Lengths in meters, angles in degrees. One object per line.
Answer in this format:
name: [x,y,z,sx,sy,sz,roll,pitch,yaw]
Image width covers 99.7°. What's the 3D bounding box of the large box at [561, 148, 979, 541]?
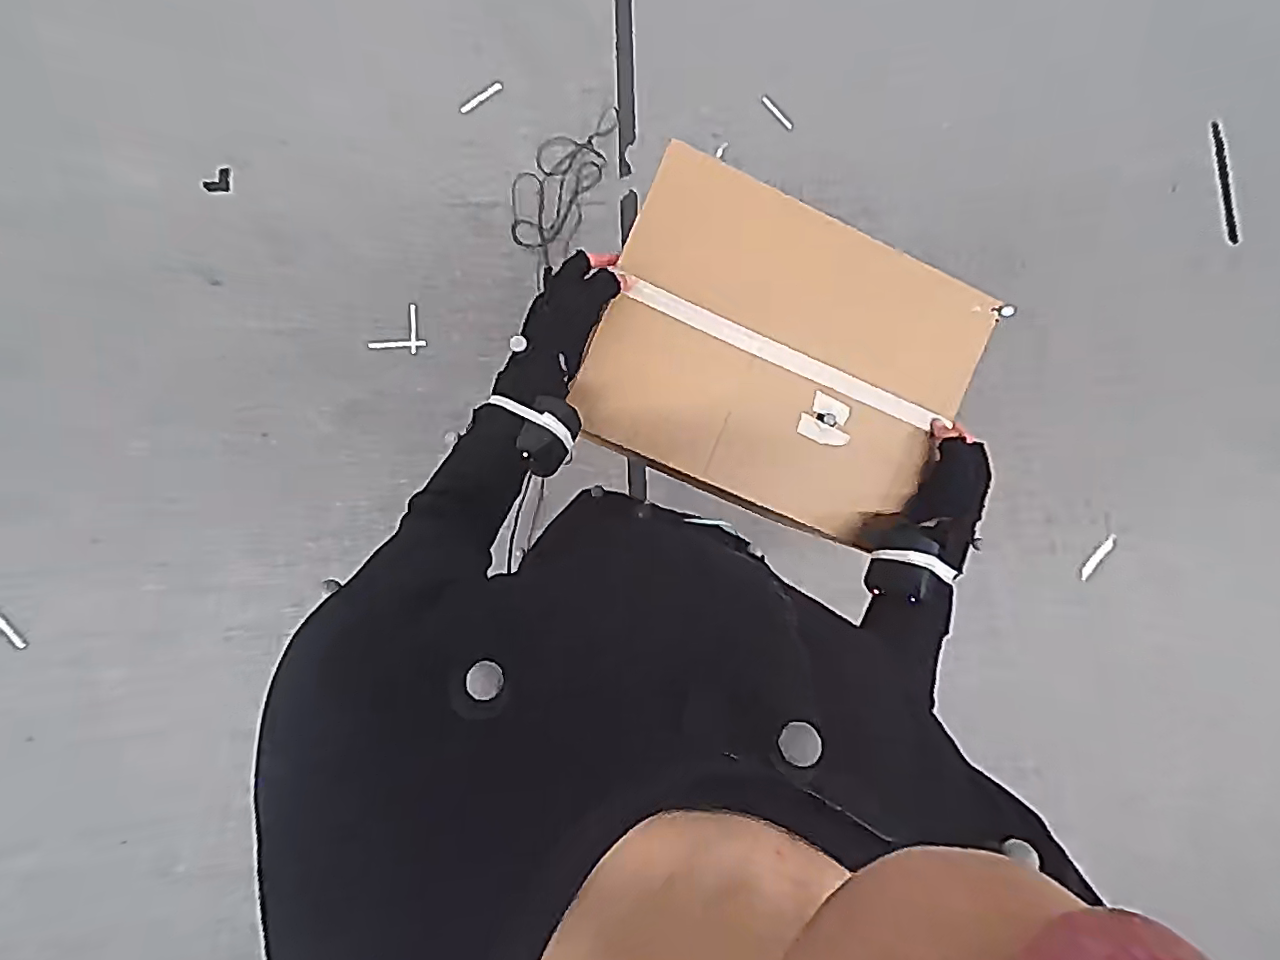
large box: [0.133,-0.149,0.743,0.408,0.320,0.320,23,92,-7]
